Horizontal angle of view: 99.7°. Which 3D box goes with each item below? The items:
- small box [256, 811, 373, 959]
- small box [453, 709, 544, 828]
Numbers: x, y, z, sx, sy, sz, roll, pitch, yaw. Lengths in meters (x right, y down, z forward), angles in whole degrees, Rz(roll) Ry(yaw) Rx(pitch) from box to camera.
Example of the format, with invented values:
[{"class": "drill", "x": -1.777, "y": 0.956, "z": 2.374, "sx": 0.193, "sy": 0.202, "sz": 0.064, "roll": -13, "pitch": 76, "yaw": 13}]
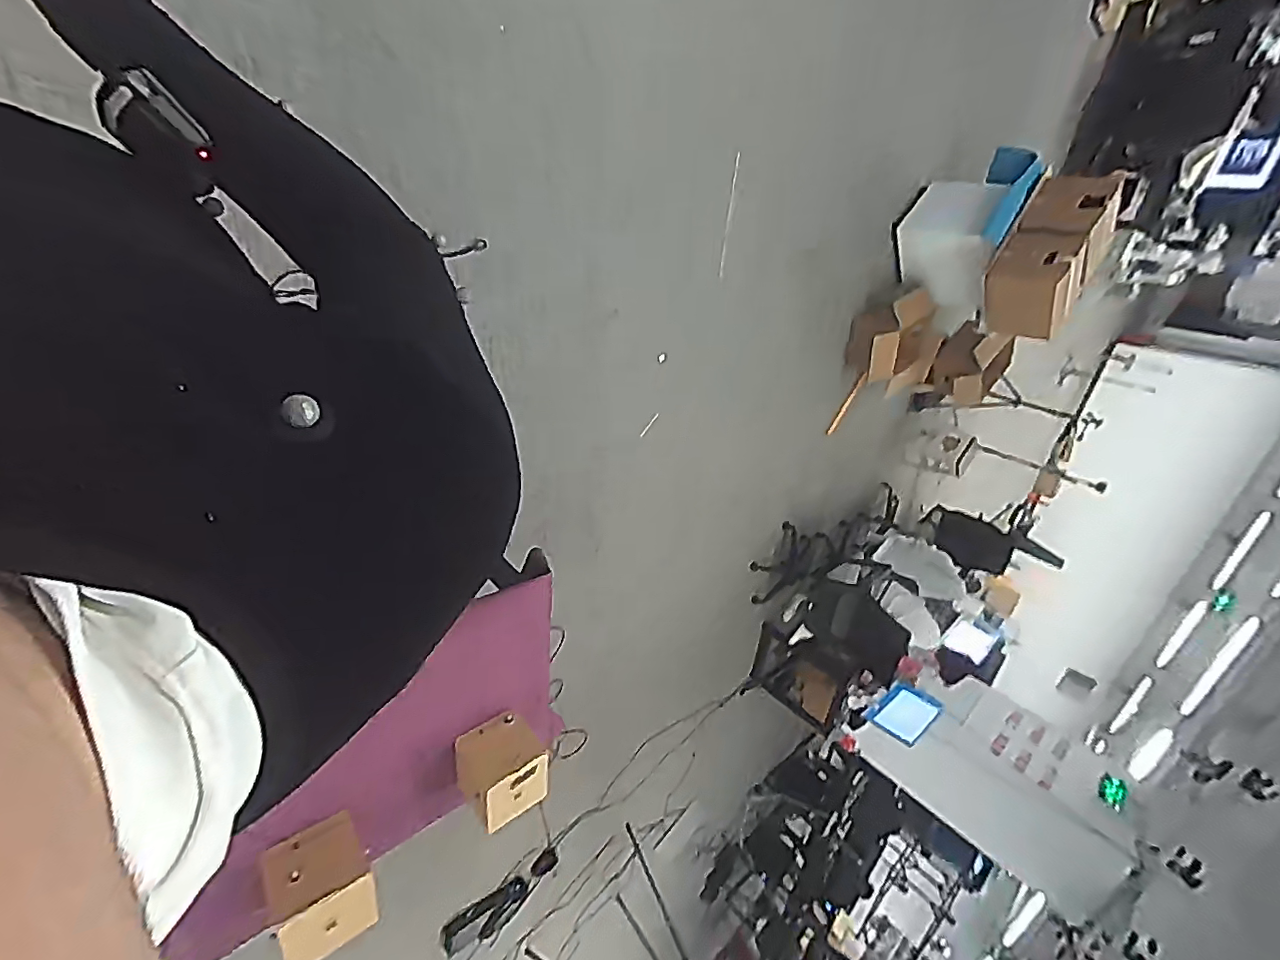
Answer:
[{"class": "small box", "x": -0.668, "y": 0.826, "z": 1.113, "sx": 0.168, "sy": 0.176, "sz": 0.179, "roll": -14, "pitch": 123, "yaw": -40}, {"class": "small box", "x": -0.358, "y": 0.710, "z": 1.359, "sx": 0.168, "sy": 0.176, "sz": 0.179, "roll": -17, "pitch": 125, "yaw": -39}]
